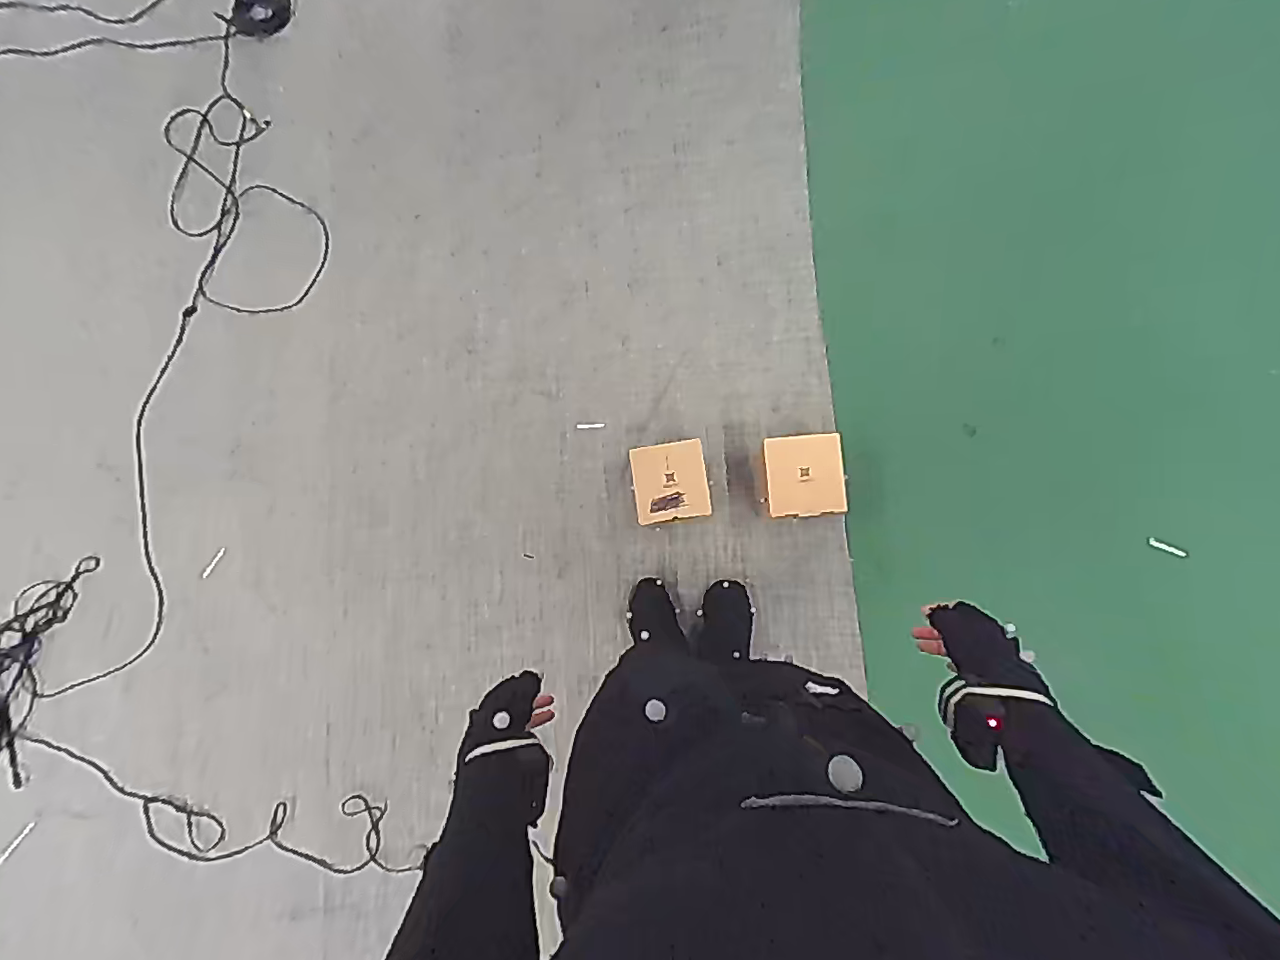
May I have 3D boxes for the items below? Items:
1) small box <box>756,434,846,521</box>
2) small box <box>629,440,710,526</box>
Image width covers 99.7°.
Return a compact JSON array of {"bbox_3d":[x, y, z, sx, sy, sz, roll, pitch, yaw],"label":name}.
[{"bbox_3d":[0.365,-0.001,1.259,0.168,0.176,0.179,-4,82,6],"label":"small box"},{"bbox_3d":[0.074,0.014,1.285,0.168,0.176,0.179,-8,81,4],"label":"small box"}]
